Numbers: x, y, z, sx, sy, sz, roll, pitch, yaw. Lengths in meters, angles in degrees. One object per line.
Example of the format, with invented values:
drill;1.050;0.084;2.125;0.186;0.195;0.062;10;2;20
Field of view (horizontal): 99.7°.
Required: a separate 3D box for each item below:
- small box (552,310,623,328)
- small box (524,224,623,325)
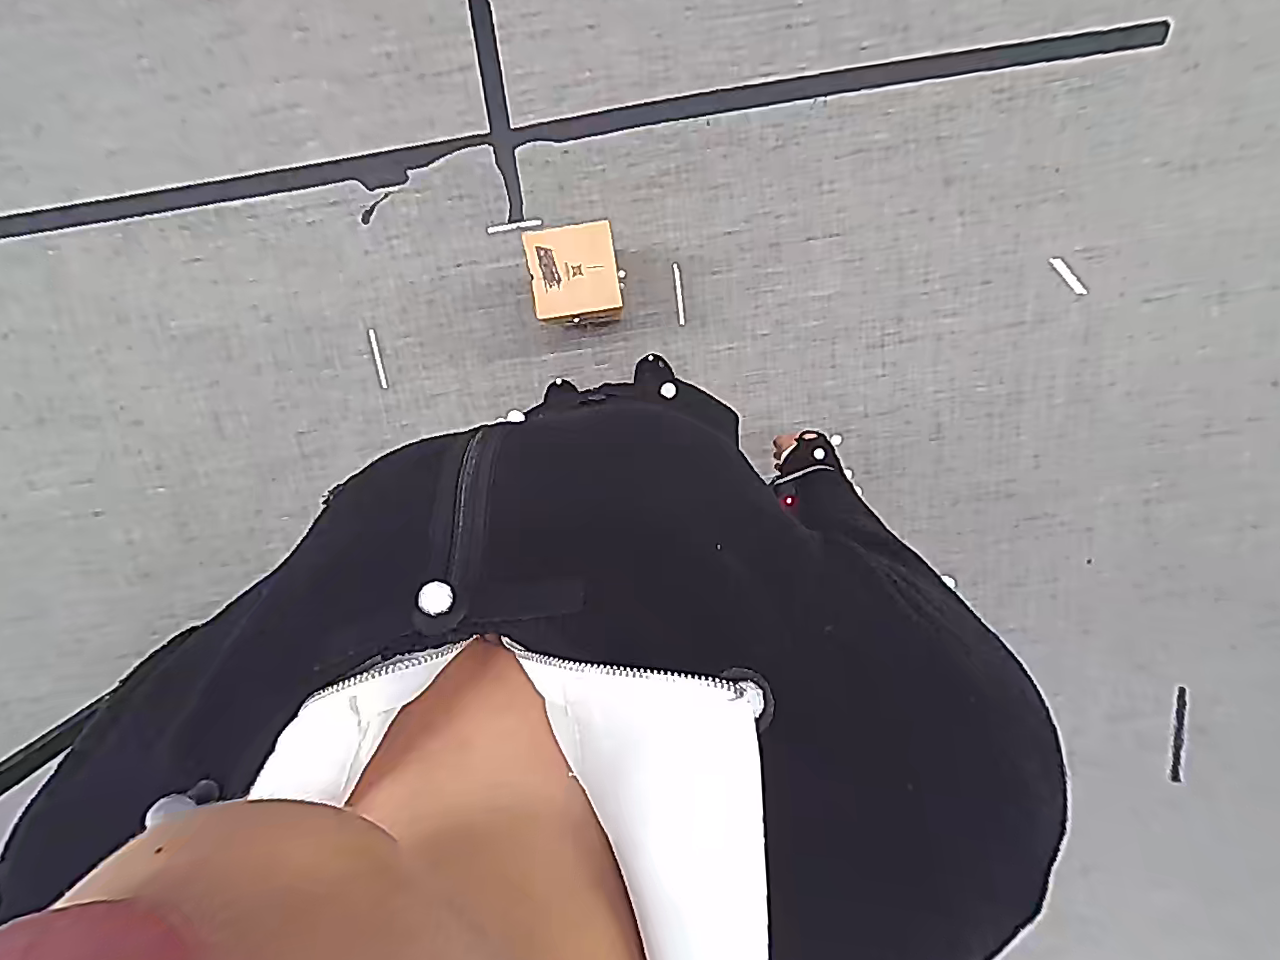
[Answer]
small box;-0.132;-0.466;1.307;0.168;0.176;0.179;-7;105;0
small box;-0.132;-0.426;1.146;0.179;0.176;0.168;-9;104;0
